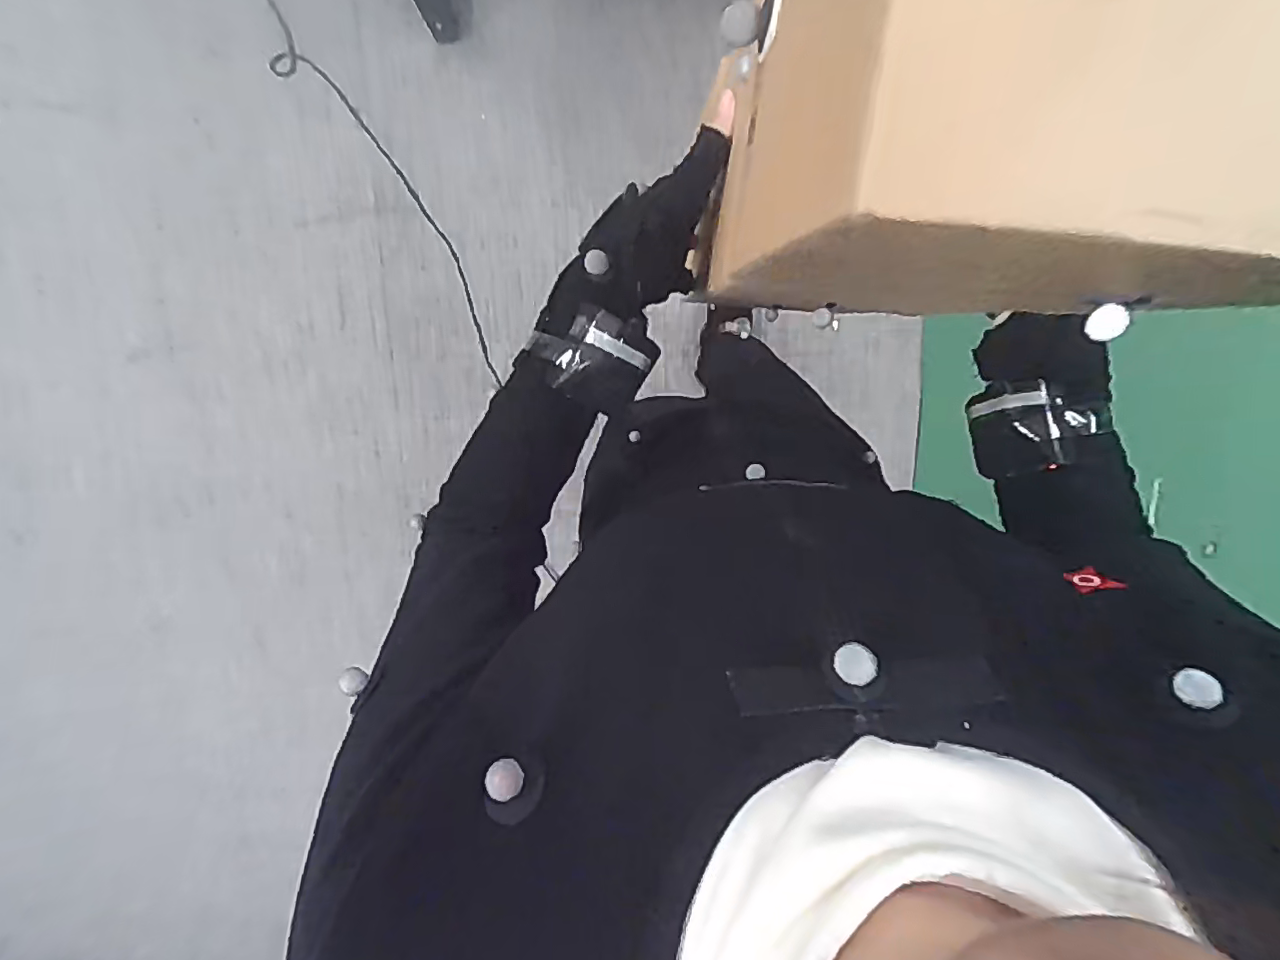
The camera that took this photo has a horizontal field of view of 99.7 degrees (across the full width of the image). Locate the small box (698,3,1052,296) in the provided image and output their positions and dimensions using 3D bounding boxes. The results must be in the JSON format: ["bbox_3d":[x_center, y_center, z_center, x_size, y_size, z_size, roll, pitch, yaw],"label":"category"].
[{"bbox_3d":[0.143,-0.211,0.337,0.179,0.176,0.168,5,105,-4],"label":"small box"}]

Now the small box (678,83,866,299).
[{"bbox_3d":[0.139,-0.262,0.491,0.179,0.176,0.168,7,105,-4],"label":"small box"}]
